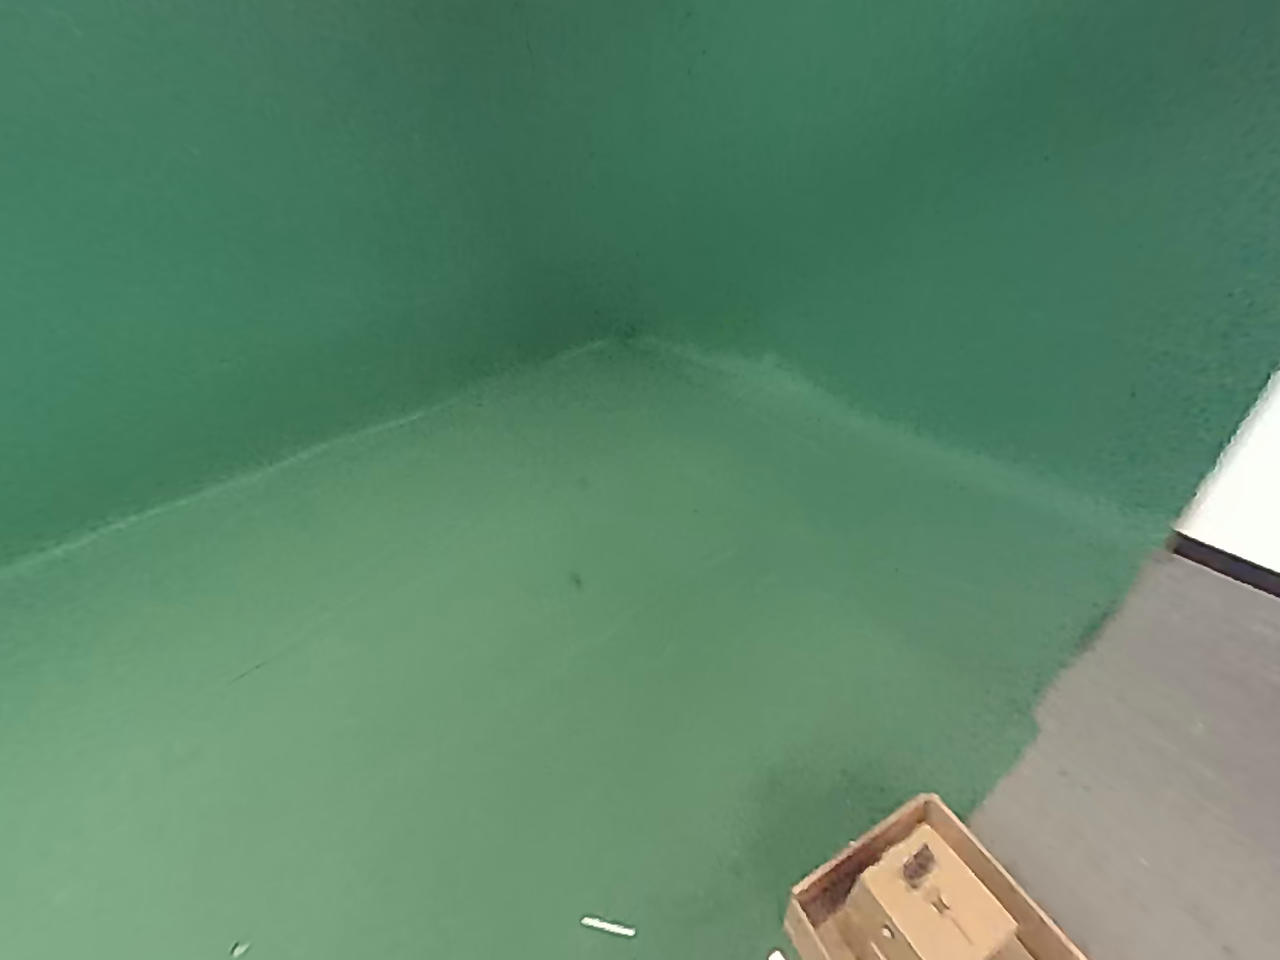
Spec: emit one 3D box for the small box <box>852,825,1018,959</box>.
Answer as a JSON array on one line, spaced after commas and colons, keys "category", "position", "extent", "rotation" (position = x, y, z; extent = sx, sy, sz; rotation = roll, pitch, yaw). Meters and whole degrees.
[{"category": "small box", "position": [0.497, 0.759, 0.943], "extent": [0.168, 0.176, 0.179], "rotation": [-23, 41, -18]}]
